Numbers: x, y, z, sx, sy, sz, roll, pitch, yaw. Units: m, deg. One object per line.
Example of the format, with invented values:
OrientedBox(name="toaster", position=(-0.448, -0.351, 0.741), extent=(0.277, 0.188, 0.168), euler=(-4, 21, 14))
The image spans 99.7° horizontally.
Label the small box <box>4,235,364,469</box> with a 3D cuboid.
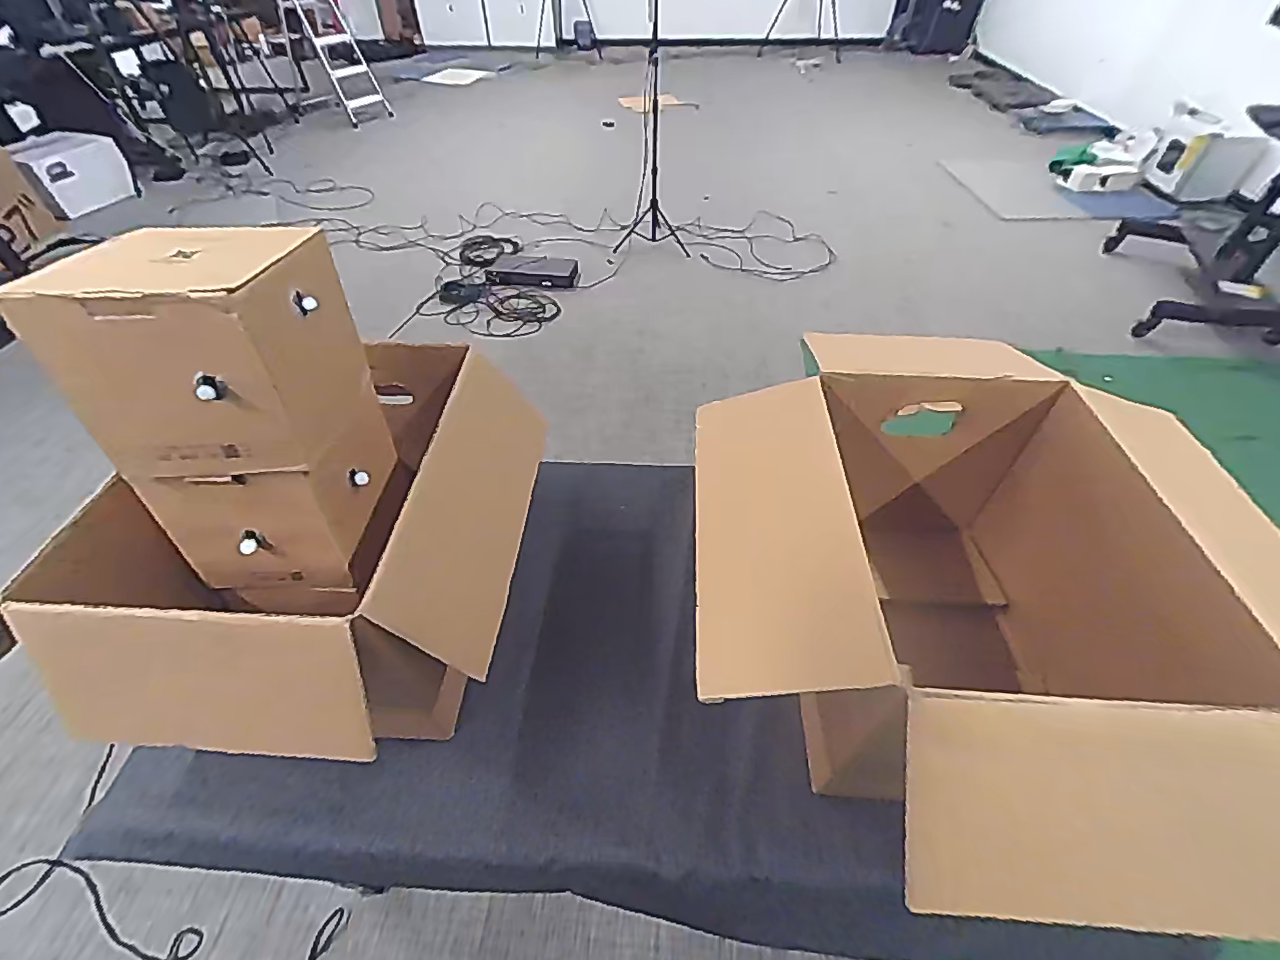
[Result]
OrientedBox(name="small box", position=(-0.389, -0.122, 0.512), extent=(0.168, 0.176, 0.179), euler=(-1, 38, -4))
